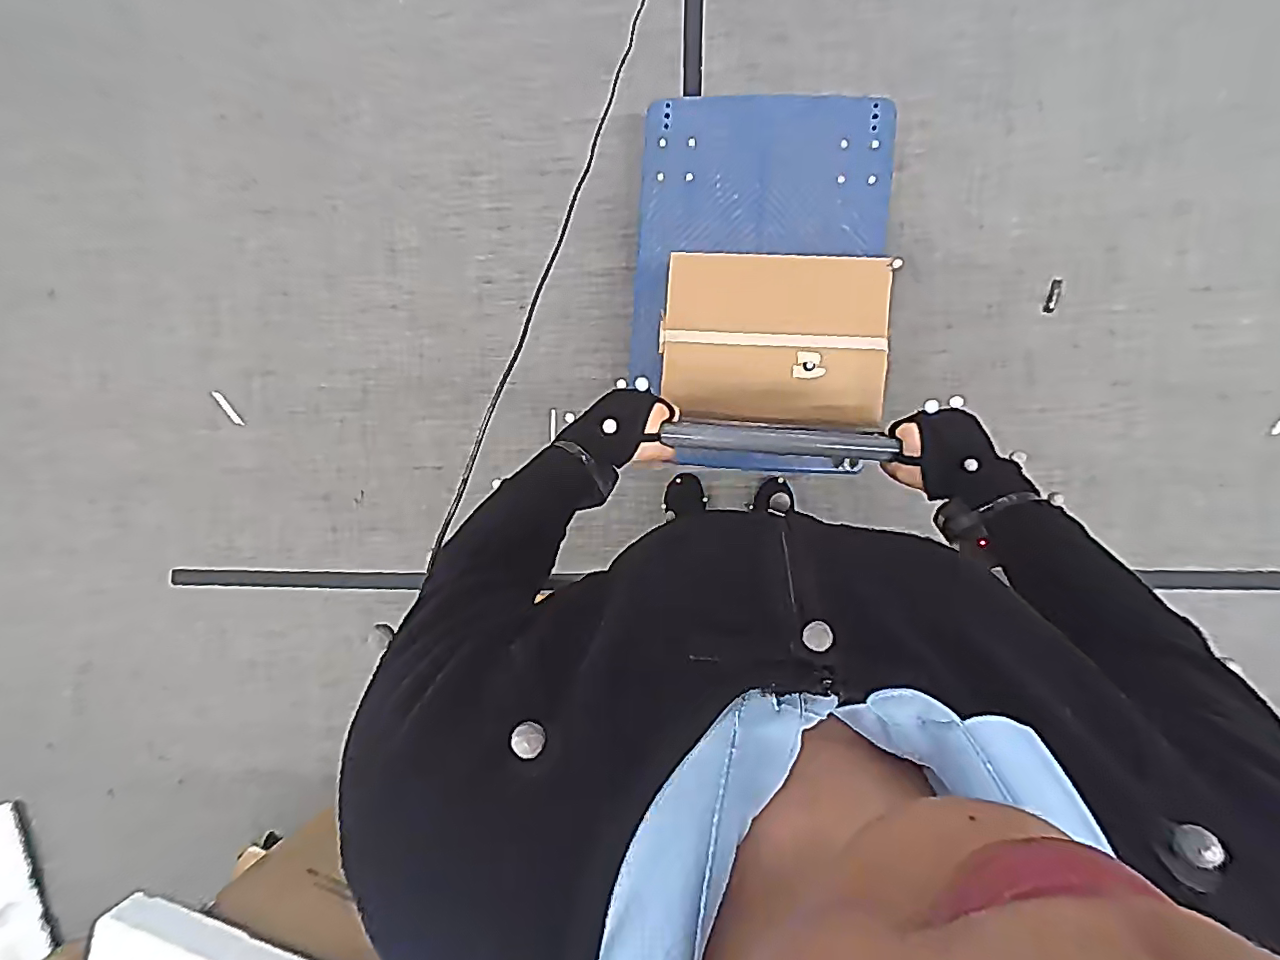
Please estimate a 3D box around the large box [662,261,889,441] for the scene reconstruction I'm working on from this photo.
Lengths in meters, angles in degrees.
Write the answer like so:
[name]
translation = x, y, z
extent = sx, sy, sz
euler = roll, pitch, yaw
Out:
[large box]
translation = 0.258, -0.250, 1.148
extent = 0.408, 0.320, 0.320
euler = 4, 93, 5
